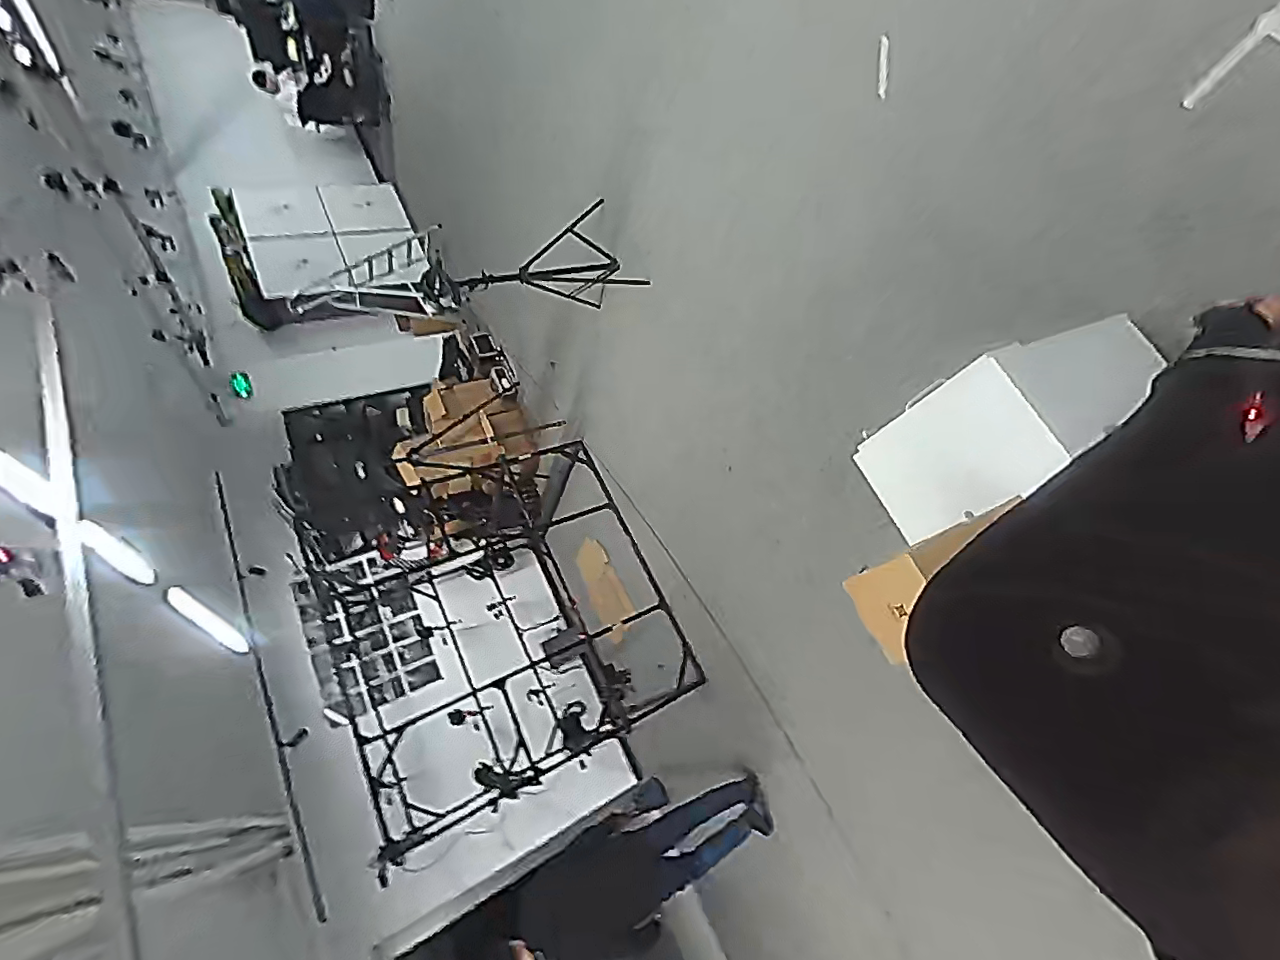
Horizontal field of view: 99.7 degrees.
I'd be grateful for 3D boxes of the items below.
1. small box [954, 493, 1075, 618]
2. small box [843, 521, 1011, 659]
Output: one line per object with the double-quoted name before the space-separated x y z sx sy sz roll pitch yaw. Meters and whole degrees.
"small box" 0.655 0.150 1.016 0.179 0.176 0.168 62 151 18
"small box" 0.510 0.192 0.956 0.168 0.176 0.179 62 152 17
